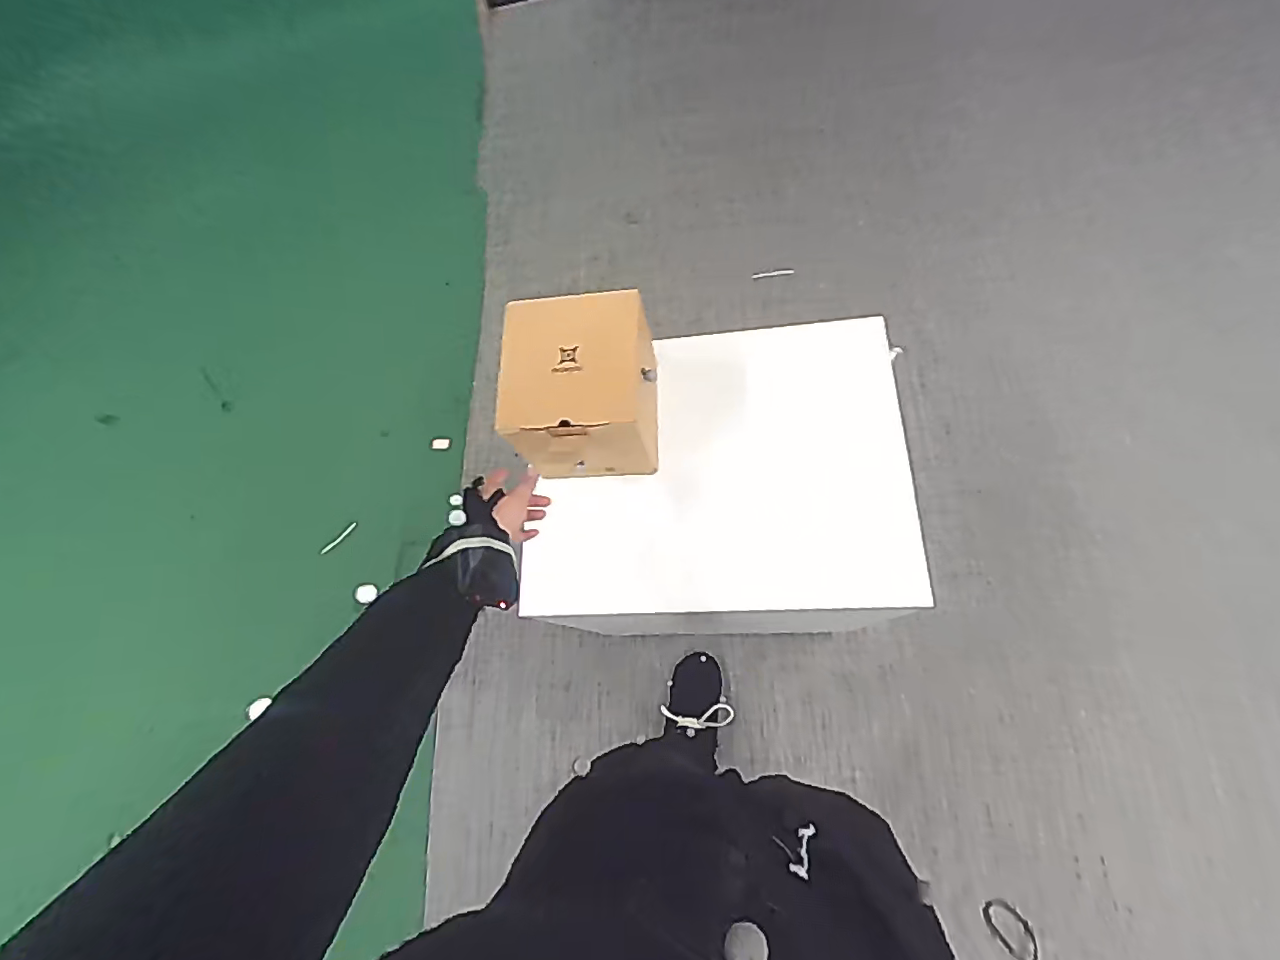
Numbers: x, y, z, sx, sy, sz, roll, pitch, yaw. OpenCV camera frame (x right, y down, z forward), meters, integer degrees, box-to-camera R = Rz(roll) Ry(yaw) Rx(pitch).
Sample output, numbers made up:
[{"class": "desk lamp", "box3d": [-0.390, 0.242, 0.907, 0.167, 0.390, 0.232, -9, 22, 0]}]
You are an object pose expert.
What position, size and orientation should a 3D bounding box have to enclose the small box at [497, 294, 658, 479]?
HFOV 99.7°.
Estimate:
[{"class": "small box", "box3d": [-0.069, -0.111, 0.698, 0.168, 0.176, 0.179, -3, 72, 8]}]
